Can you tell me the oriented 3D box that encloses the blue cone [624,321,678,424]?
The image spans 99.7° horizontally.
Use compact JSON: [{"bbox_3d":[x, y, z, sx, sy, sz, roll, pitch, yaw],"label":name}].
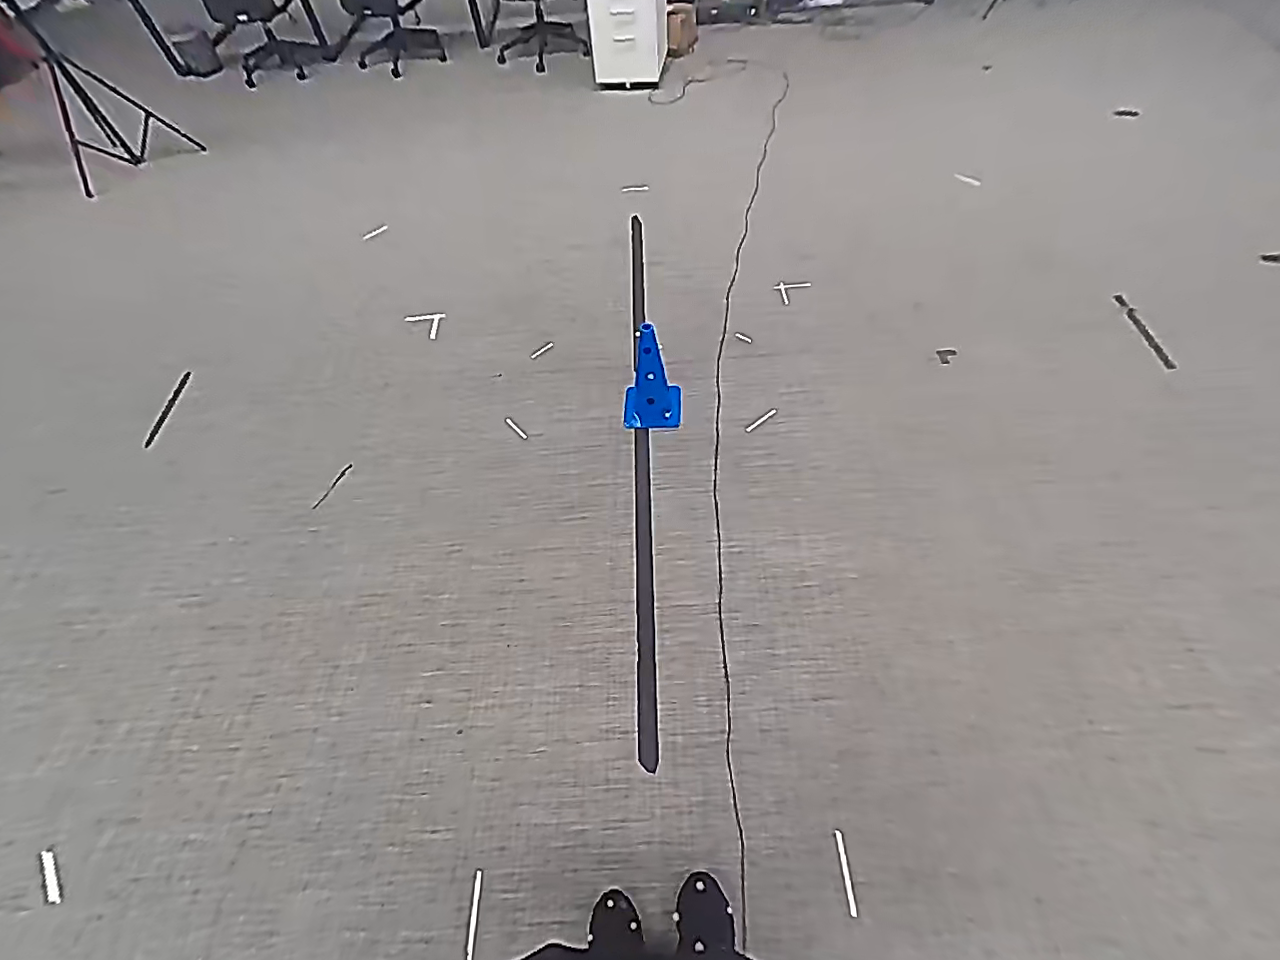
[{"bbox_3d":[0.030,-0.367,1.778,0.193,0.380,0.192,0,55,3],"label":"blue cone"}]
